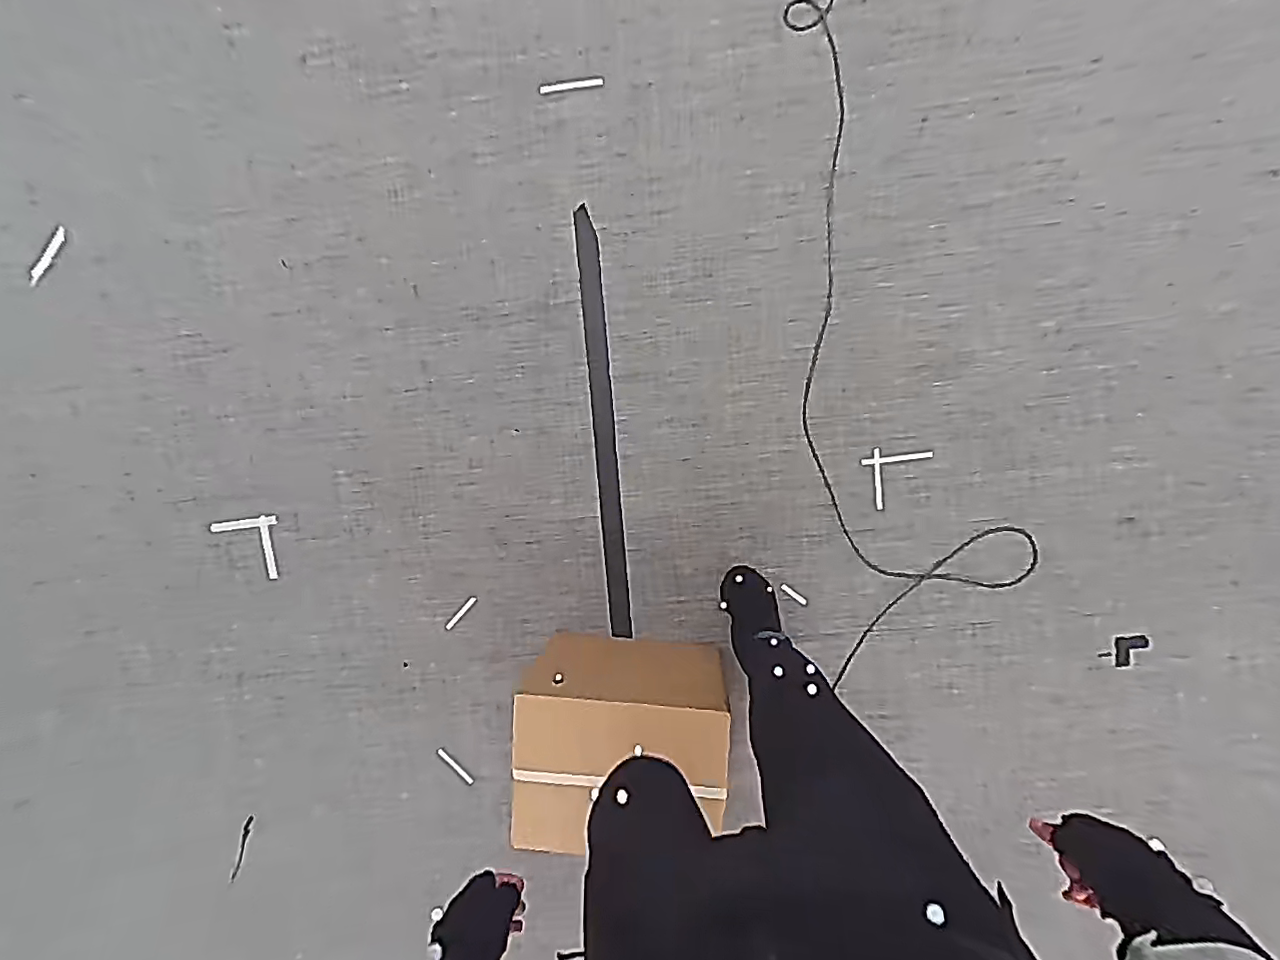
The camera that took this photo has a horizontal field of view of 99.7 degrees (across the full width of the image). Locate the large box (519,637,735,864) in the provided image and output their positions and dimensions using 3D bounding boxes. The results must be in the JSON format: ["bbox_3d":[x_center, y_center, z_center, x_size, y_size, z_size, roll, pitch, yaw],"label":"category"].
[{"bbox_3d":[-0.020,0.544,1.154,0.408,0.320,0.320,3,96,4],"label":"large box"}]
